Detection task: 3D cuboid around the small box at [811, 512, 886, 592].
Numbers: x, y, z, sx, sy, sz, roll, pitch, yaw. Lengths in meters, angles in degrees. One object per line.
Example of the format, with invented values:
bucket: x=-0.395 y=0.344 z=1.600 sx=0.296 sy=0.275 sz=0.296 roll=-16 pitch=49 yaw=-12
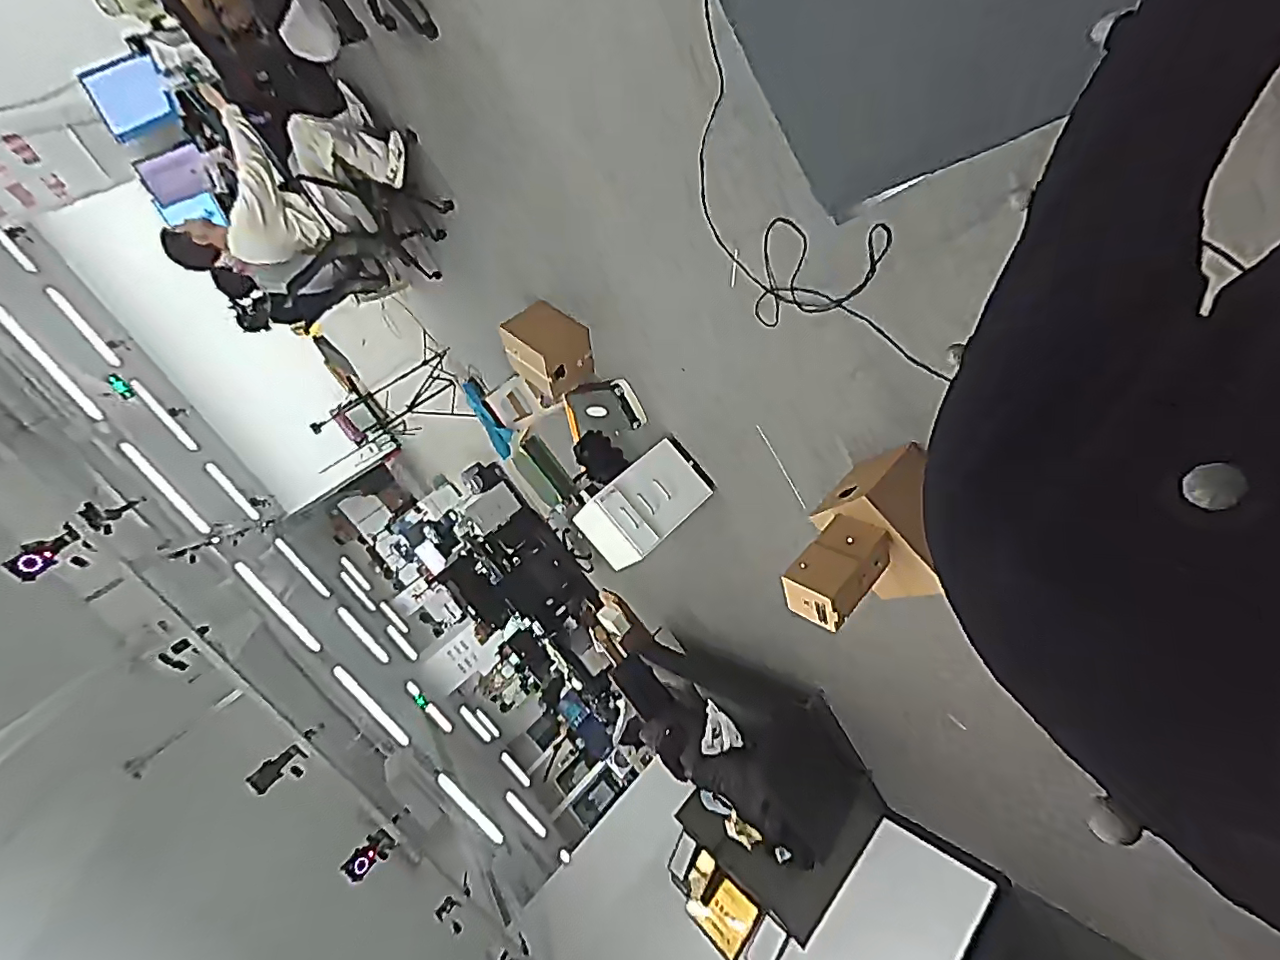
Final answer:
small box: x=0.694 y=0.232 z=1.782 sx=0.179 sy=0.176 sz=0.168 roll=21 pitch=143 yaw=44
